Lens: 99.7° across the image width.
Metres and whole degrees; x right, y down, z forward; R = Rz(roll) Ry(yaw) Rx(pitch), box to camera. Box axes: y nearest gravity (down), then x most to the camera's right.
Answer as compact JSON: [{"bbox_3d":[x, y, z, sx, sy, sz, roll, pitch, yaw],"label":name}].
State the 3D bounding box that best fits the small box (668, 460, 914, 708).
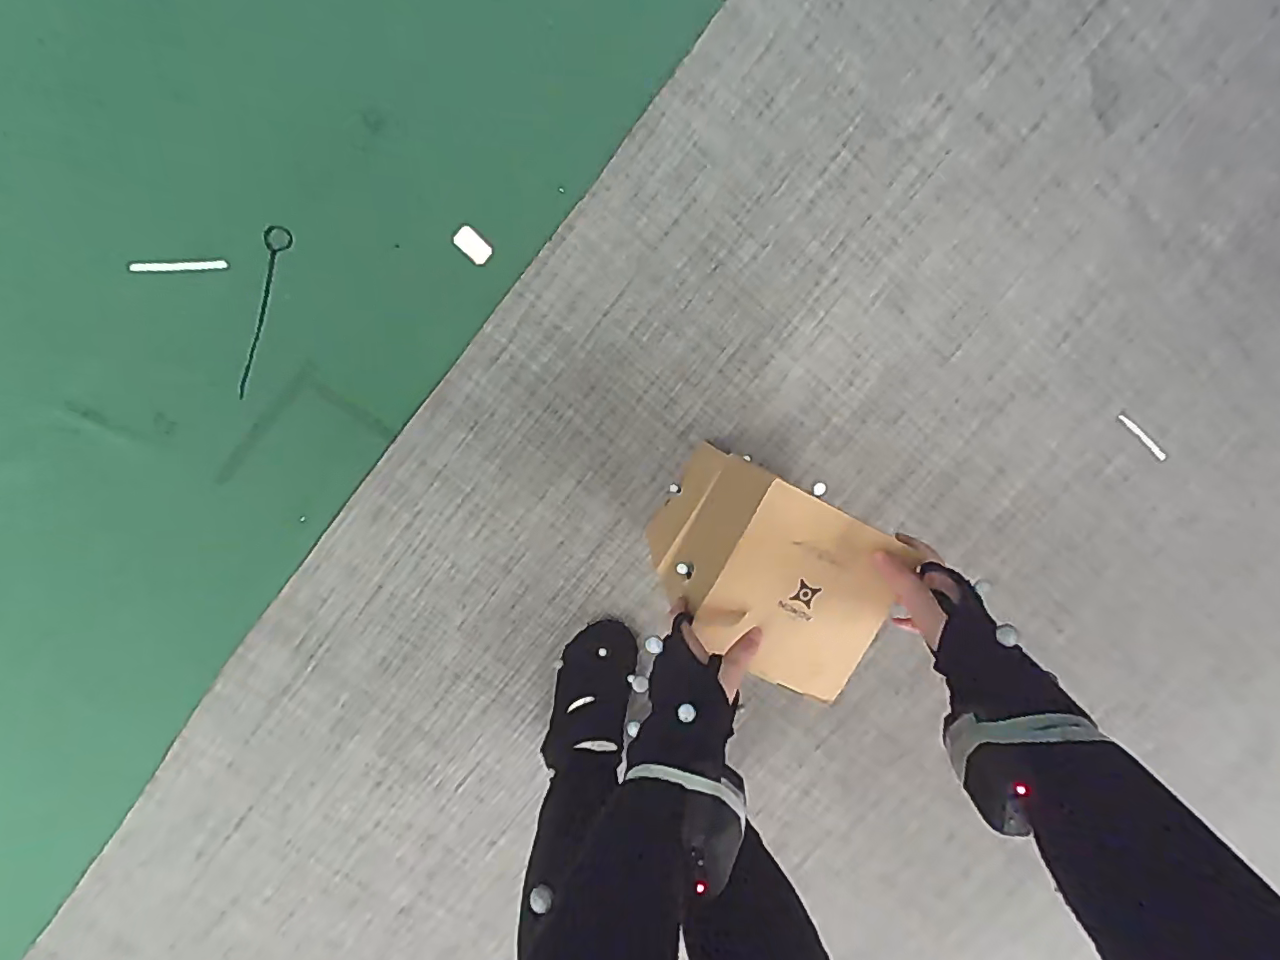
[{"bbox_3d":[0.141,0.097,0.580,0.168,0.176,0.179,27,97,-9],"label":"small box"}]
